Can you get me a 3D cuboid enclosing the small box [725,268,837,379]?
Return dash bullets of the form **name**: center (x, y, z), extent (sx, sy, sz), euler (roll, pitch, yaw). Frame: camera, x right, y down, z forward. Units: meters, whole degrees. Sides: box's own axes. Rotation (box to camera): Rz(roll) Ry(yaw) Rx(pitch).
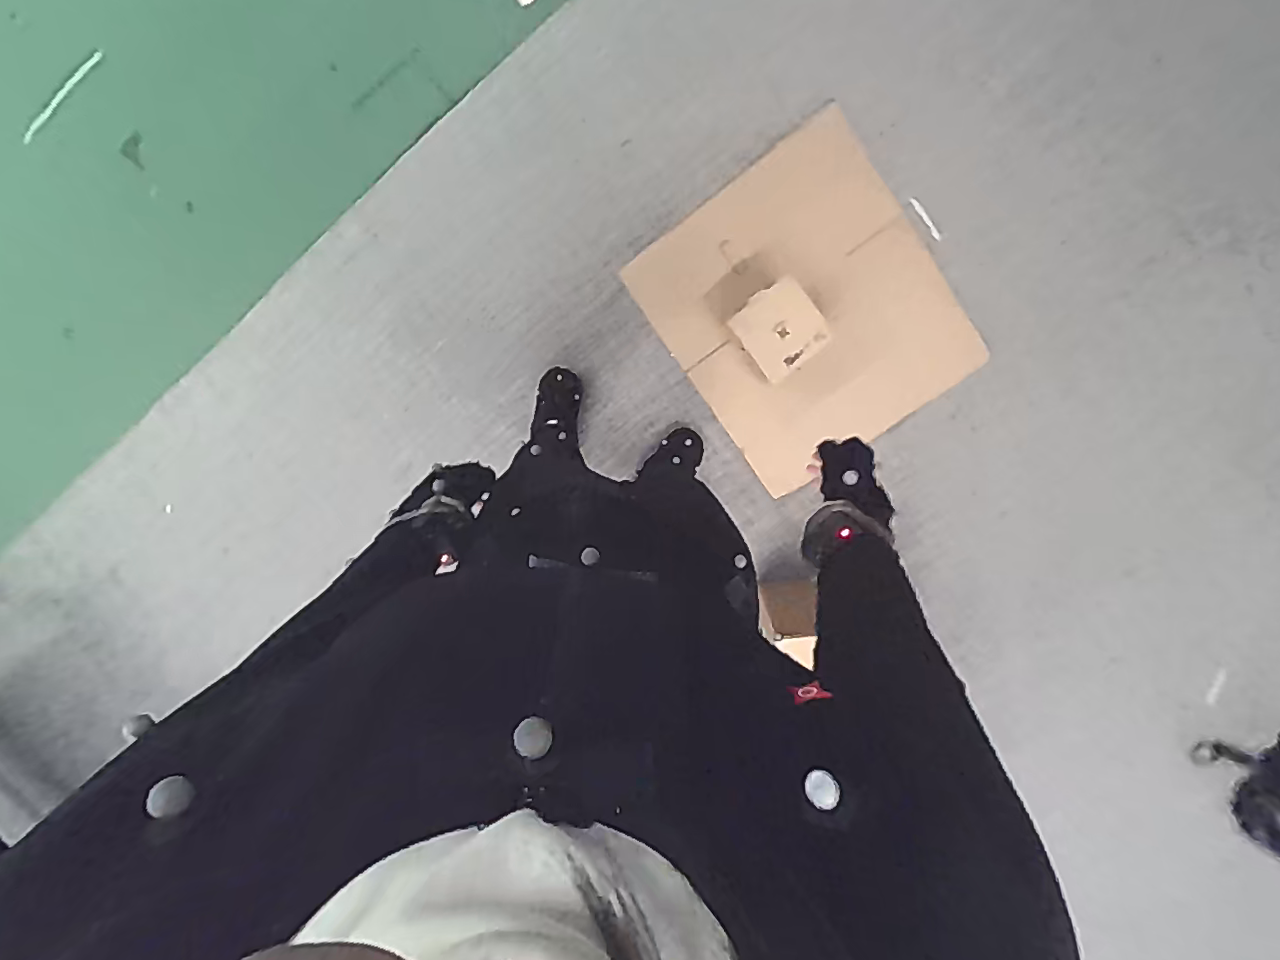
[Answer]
- **small box**: center (0.309, -0.344, 1.230), extent (0.168, 0.176, 0.179), euler (-39, 95, 9)
